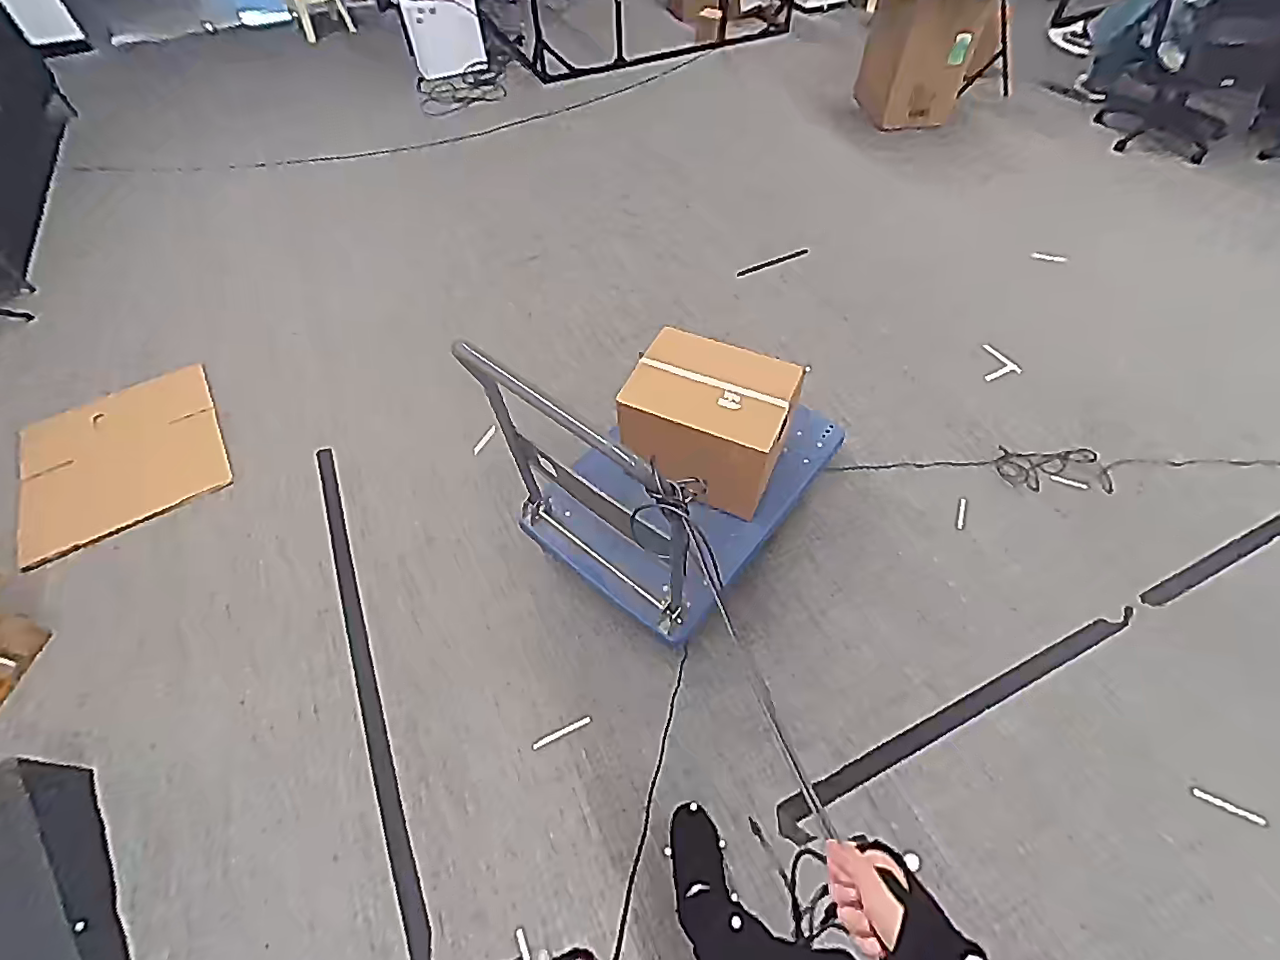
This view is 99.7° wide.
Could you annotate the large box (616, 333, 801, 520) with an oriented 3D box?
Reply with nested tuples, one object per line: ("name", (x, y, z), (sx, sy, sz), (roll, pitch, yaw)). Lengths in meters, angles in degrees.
("large box", (0.178, -0.147, 1.494), (0.408, 0.320, 0.320), (21, 58, 15))
